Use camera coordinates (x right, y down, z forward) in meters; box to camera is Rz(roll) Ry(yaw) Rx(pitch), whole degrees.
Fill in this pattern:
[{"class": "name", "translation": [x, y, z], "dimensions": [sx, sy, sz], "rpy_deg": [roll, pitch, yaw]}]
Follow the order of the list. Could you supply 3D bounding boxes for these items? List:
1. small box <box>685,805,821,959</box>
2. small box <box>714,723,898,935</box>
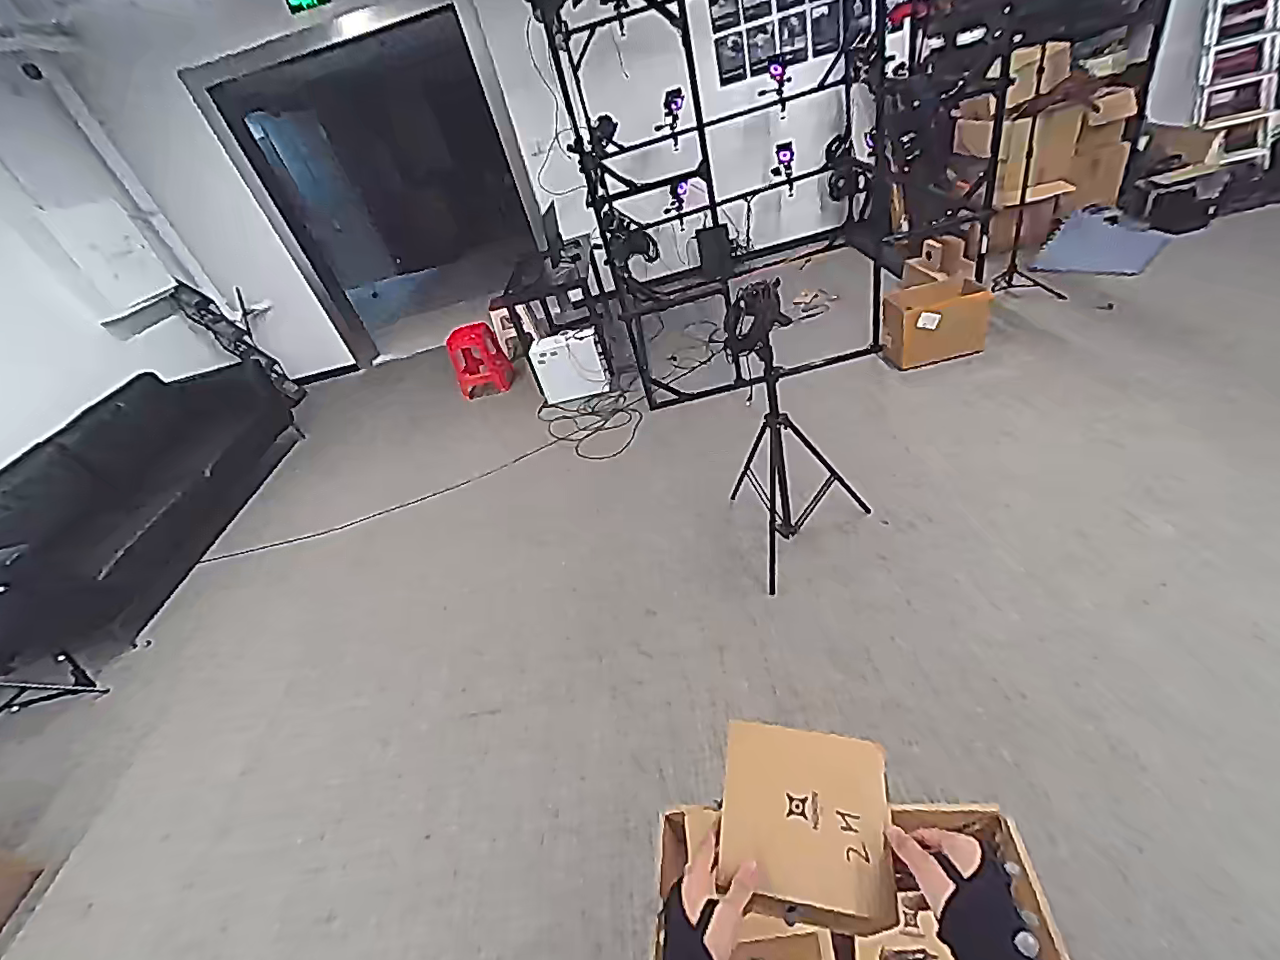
[{"class": "small box", "translation": [0.172, 0.627, 0.835], "dimensions": [0.168, 0.176, 0.179], "rpy_deg": [-13, 35, 6]}, {"class": "small box", "translation": [0.182, 0.408, 0.632], "dimensions": [0.179, 0.176, 0.168], "rpy_deg": [5, 49, 11]}]
